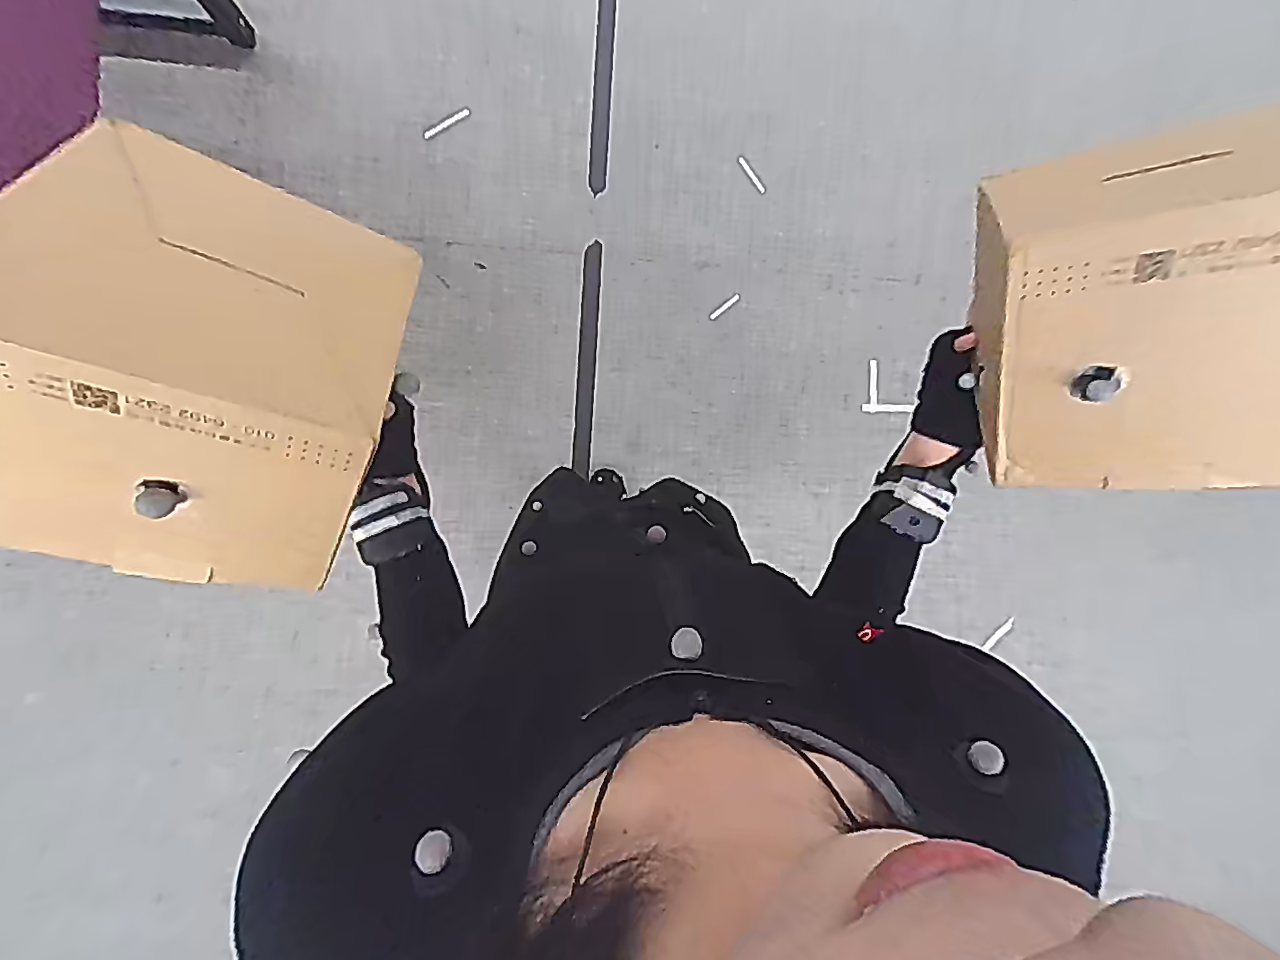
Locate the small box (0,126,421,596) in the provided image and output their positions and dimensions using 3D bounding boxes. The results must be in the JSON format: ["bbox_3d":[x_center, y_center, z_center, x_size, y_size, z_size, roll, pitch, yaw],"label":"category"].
[{"bbox_3d":[-0.242,-0.060,0.311,0.168,0.176,0.179,19,43,-28],"label":"small box"}]

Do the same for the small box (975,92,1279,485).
[{"bbox_3d":[0.315,-0.115,0.336,0.168,0.179,0.176,0,127,26],"label":"small box"}]
